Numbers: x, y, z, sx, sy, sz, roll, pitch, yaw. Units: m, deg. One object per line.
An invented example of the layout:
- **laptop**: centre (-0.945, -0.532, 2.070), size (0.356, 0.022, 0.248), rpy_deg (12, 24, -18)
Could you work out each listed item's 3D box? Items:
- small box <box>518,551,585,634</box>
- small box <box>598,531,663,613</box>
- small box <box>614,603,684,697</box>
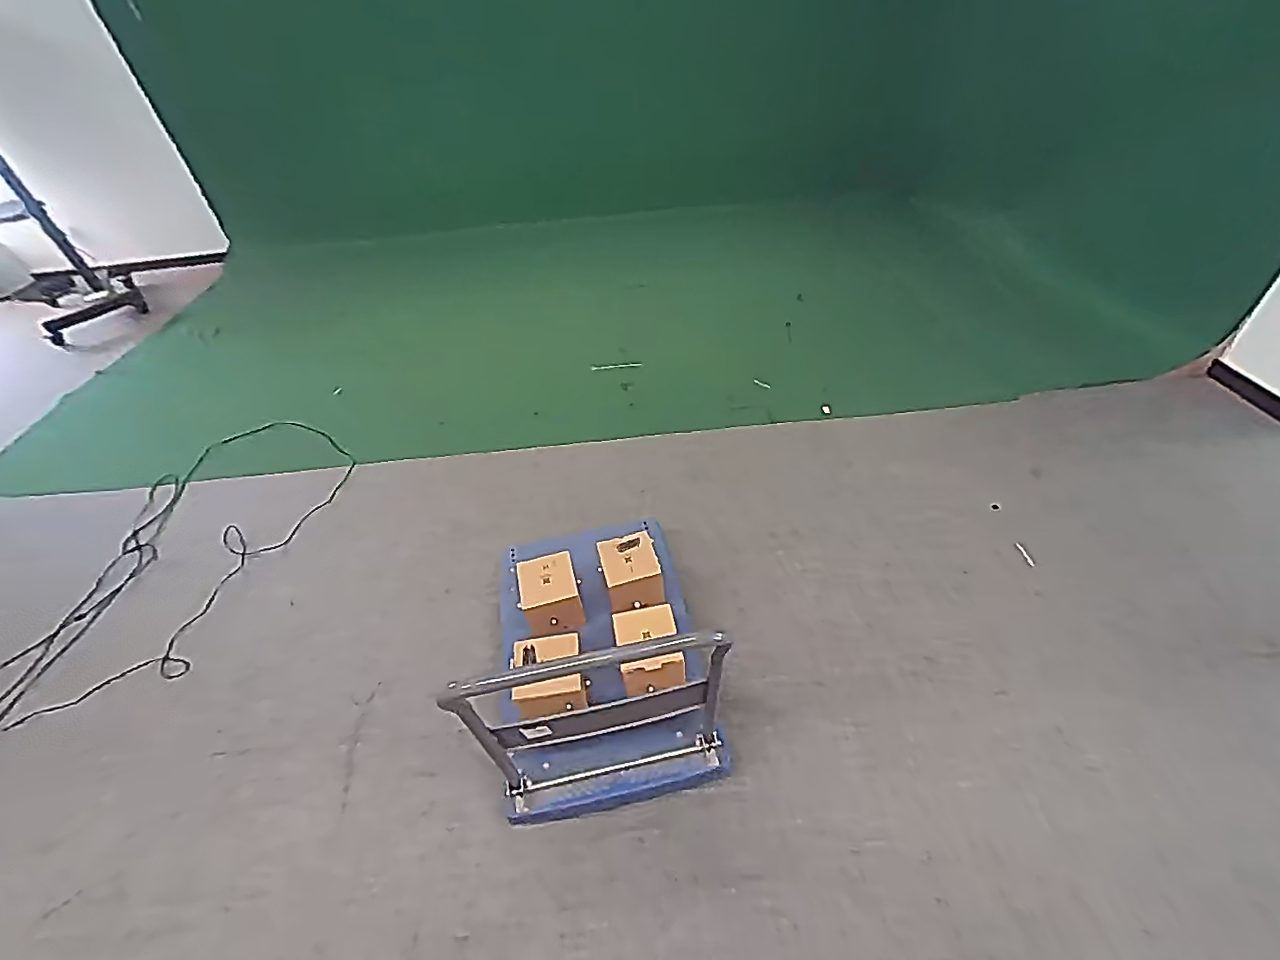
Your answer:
- **small box**: centre (-0.271, 0.355, 1.674), size (0.168, 0.176, 0.179), rpy_deg (-13, 44, -8)
- **small box**: centre (-0.029, 0.295, 1.709), size (0.168, 0.176, 0.179), rpy_deg (-14, 45, -7)
- **small box**: centre (0.025, 0.477, 1.516), size (0.168, 0.176, 0.179), rpy_deg (-10, 44, -5)
